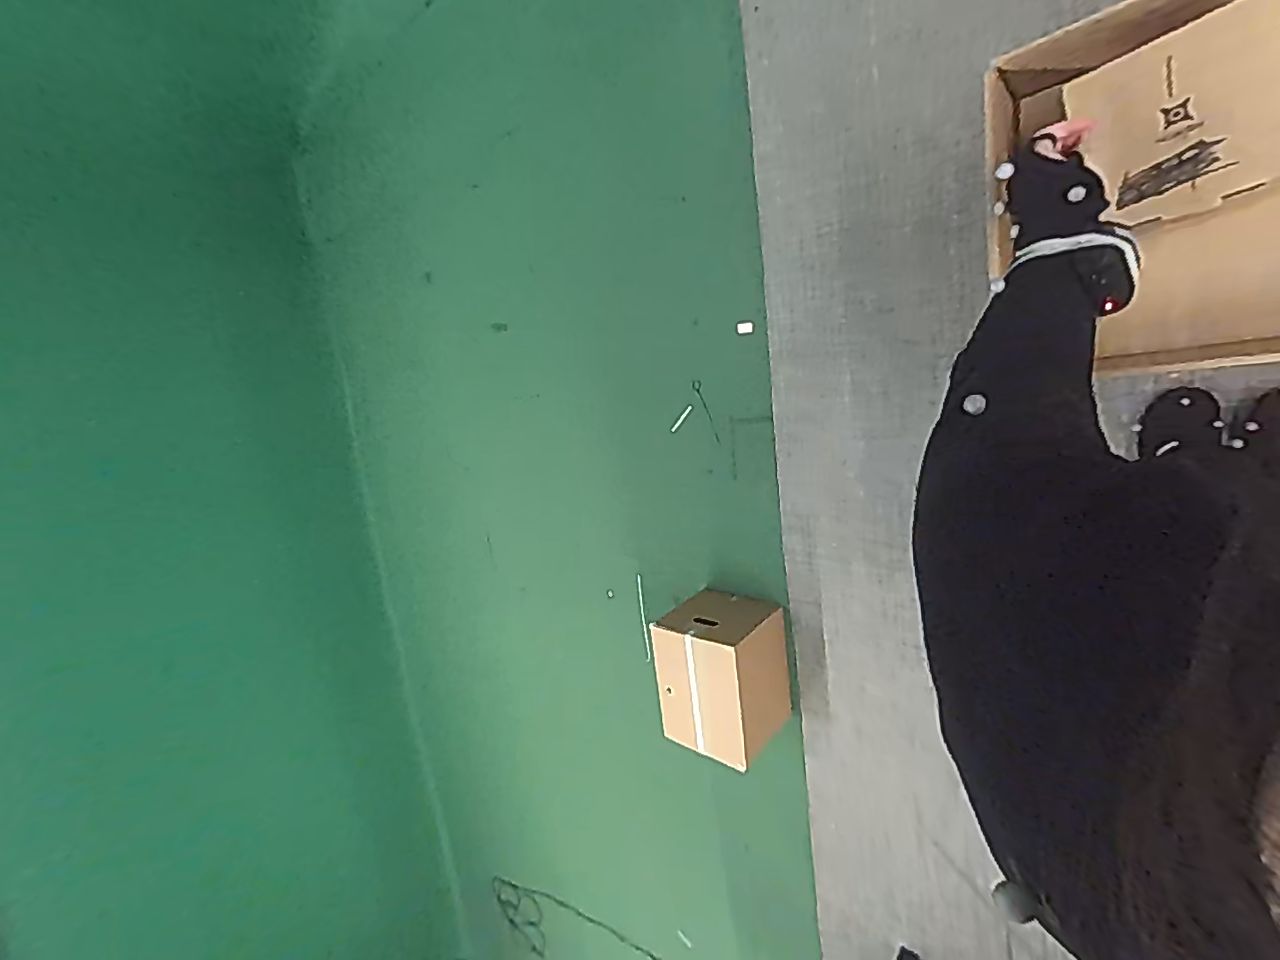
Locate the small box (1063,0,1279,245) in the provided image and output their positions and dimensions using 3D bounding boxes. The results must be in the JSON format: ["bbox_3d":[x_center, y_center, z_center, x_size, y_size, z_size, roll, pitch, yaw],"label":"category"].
[{"bbox_3d":[0.603,-0.383,0.612,0.168,0.176,0.179,-9,95,43],"label":"small box"}]
